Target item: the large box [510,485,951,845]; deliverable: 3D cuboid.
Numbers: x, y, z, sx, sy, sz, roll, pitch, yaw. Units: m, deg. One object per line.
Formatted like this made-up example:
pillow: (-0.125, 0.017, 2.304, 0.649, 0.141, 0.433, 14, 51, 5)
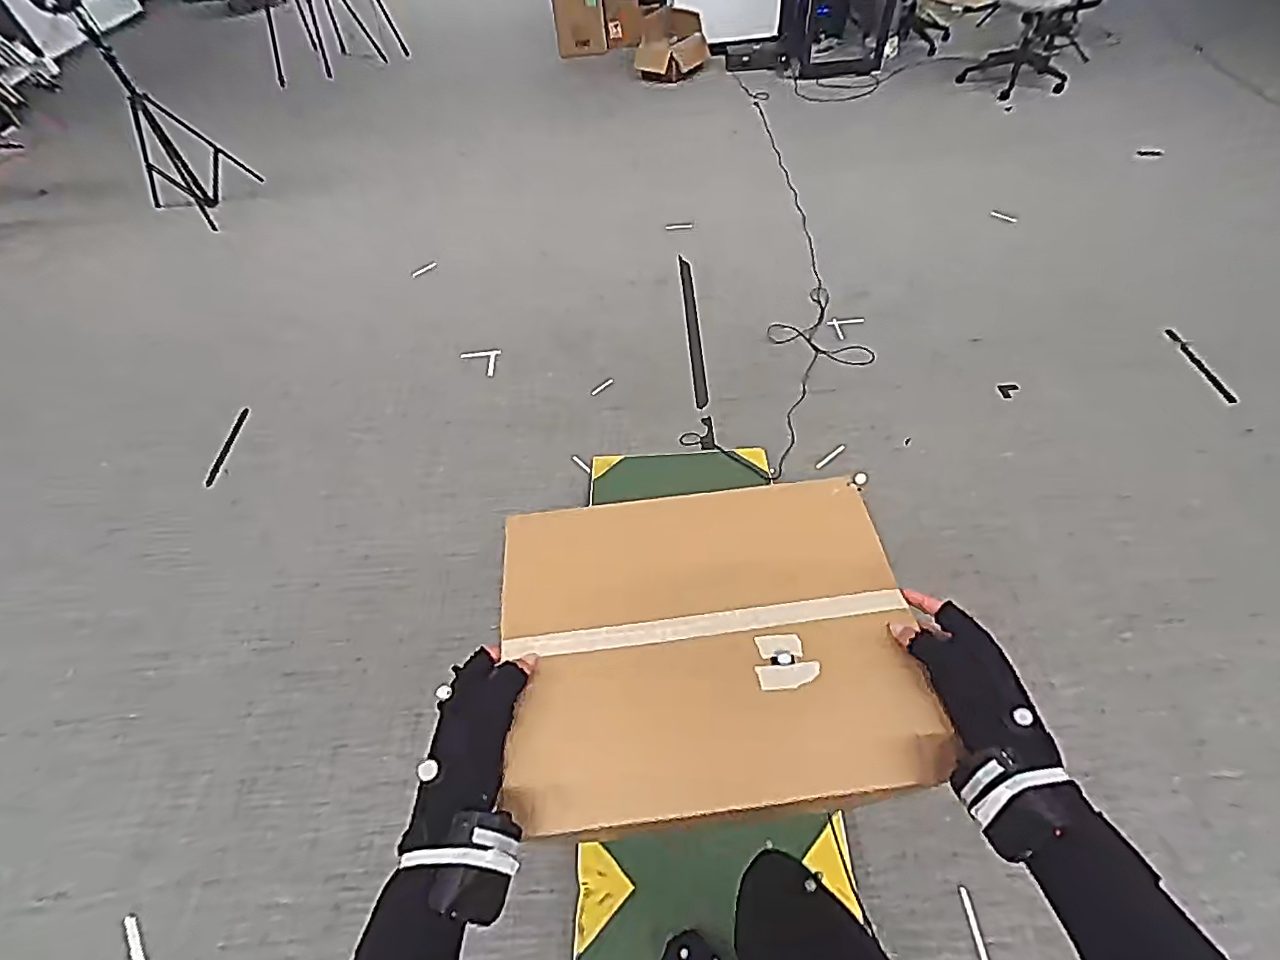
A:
large box: (0.069, 0.239, 0.678, 0.408, 0.320, 0.320, -7, 55, -3)
